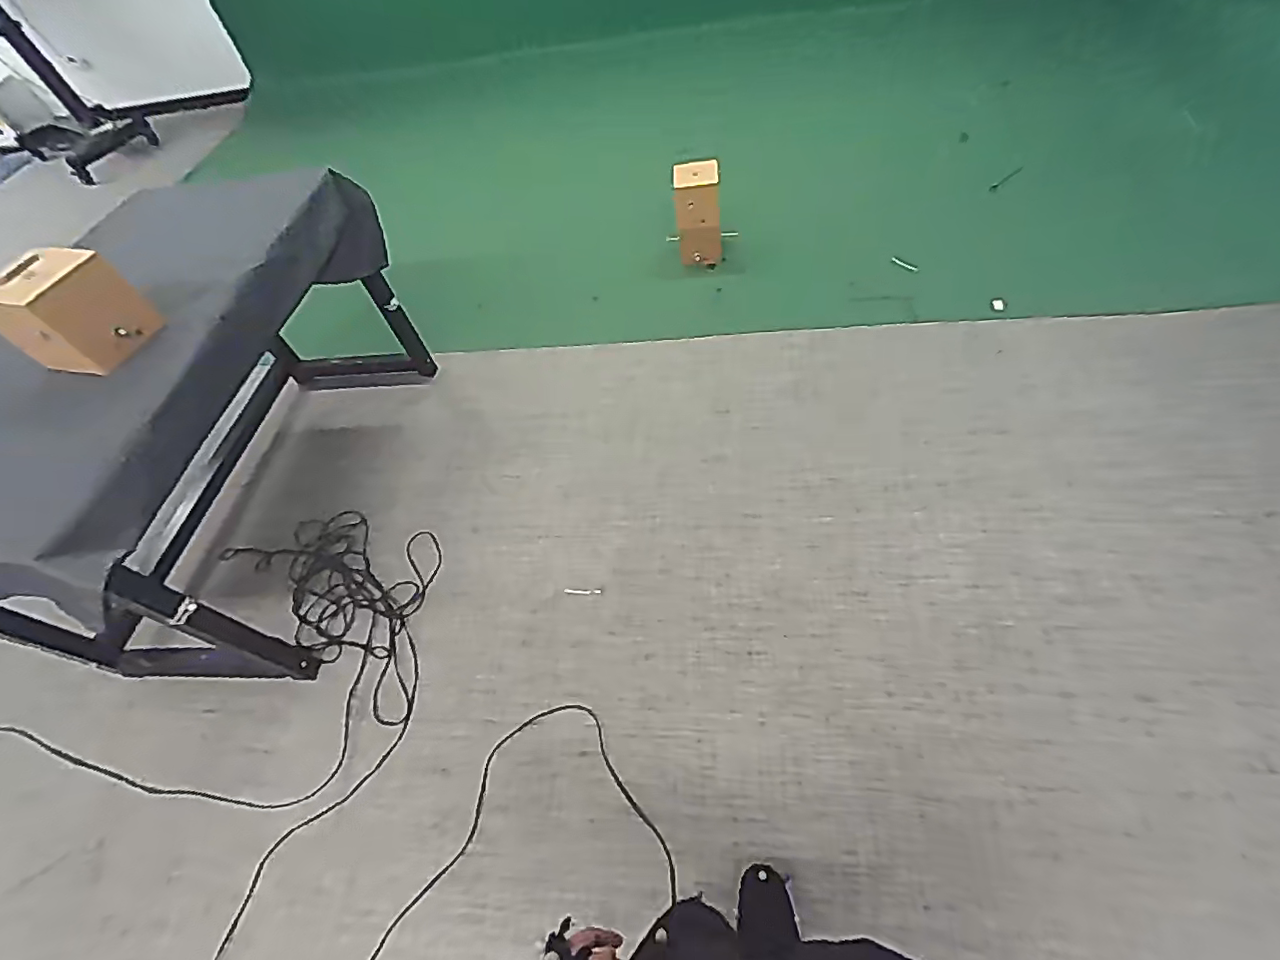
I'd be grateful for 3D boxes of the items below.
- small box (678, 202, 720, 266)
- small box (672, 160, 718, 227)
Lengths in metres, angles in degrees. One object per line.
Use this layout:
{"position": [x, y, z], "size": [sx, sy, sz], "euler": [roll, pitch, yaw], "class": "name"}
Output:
{"position": [0.244, -1.006, 2.214], "size": [0.168, 0.176, 0.179], "euler": [-2, 56, 8], "class": "small box"}
{"position": [0.213, -1.095, 2.081], "size": [0.168, 0.176, 0.179], "euler": [-3, 54, 8], "class": "small box"}
